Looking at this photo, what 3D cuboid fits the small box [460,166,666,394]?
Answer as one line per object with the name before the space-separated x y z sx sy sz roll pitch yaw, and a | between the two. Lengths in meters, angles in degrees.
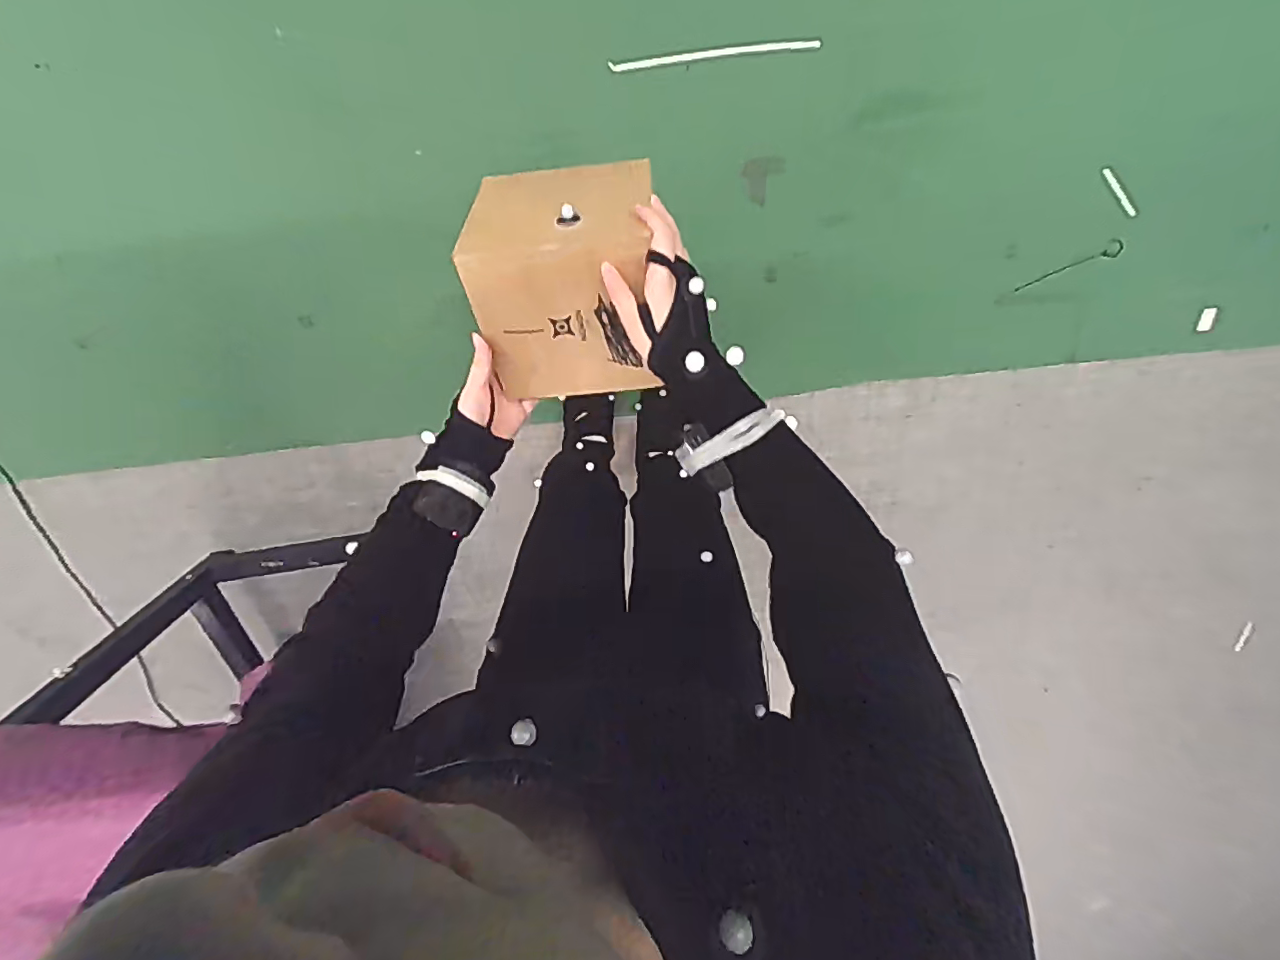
small box | -0.066 -0.214 0.577 0.179 0.176 0.168 -4 138 4
